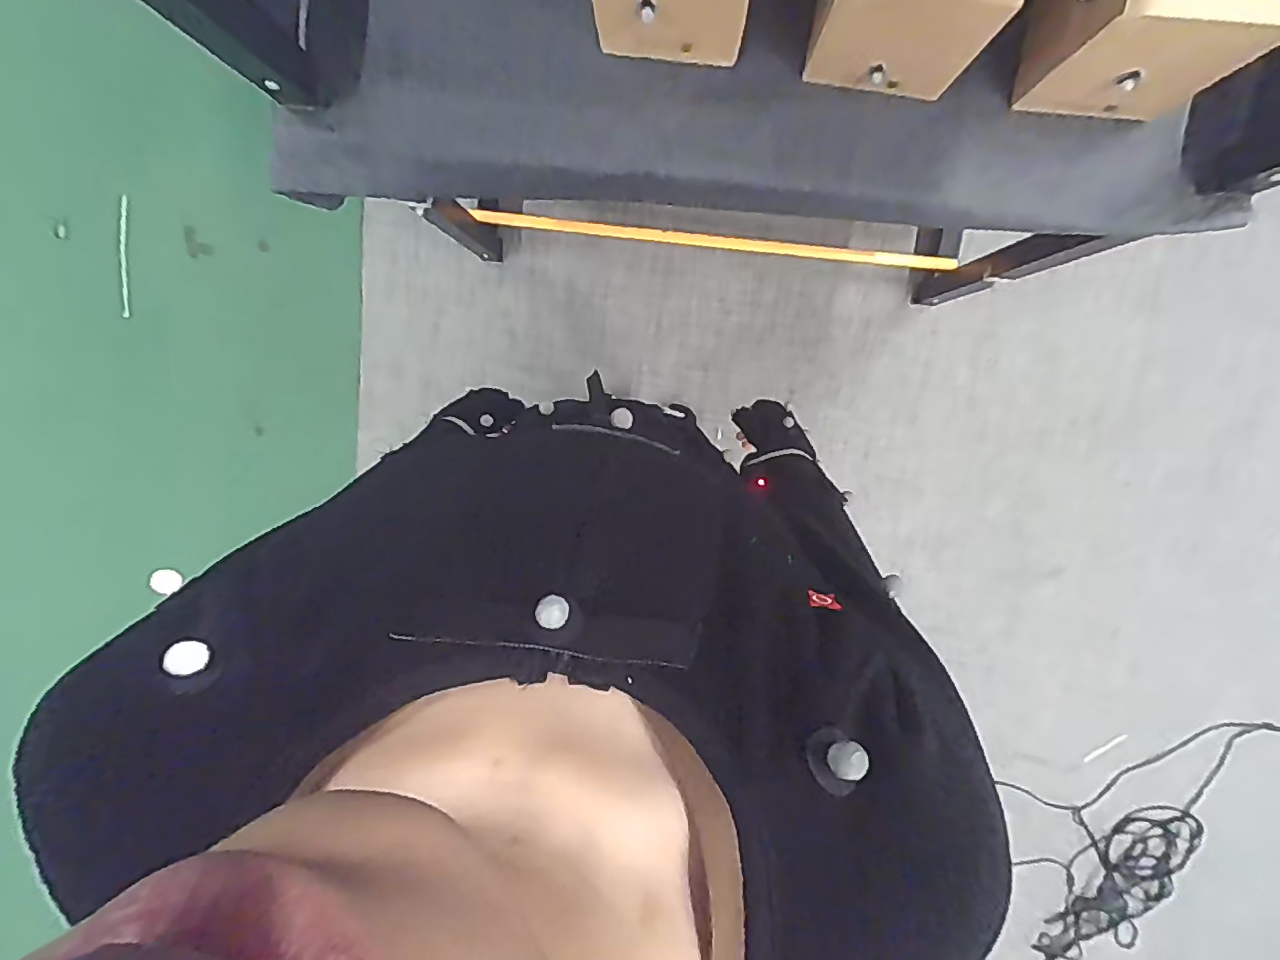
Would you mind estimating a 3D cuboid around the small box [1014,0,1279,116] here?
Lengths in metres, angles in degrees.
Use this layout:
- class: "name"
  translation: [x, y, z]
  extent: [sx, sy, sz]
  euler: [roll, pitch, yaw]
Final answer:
- class: "small box"
  translation: [0.529, -0.512, 0.557]
  extent: [0.168, 0.176, 0.179]
  euler: [6, 98, 1]

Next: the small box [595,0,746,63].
- class: "small box"
  translation: [0.041, -0.587, 0.572]
  extent: [0.168, 0.176, 0.179]
  euler: [7, 99, 1]
